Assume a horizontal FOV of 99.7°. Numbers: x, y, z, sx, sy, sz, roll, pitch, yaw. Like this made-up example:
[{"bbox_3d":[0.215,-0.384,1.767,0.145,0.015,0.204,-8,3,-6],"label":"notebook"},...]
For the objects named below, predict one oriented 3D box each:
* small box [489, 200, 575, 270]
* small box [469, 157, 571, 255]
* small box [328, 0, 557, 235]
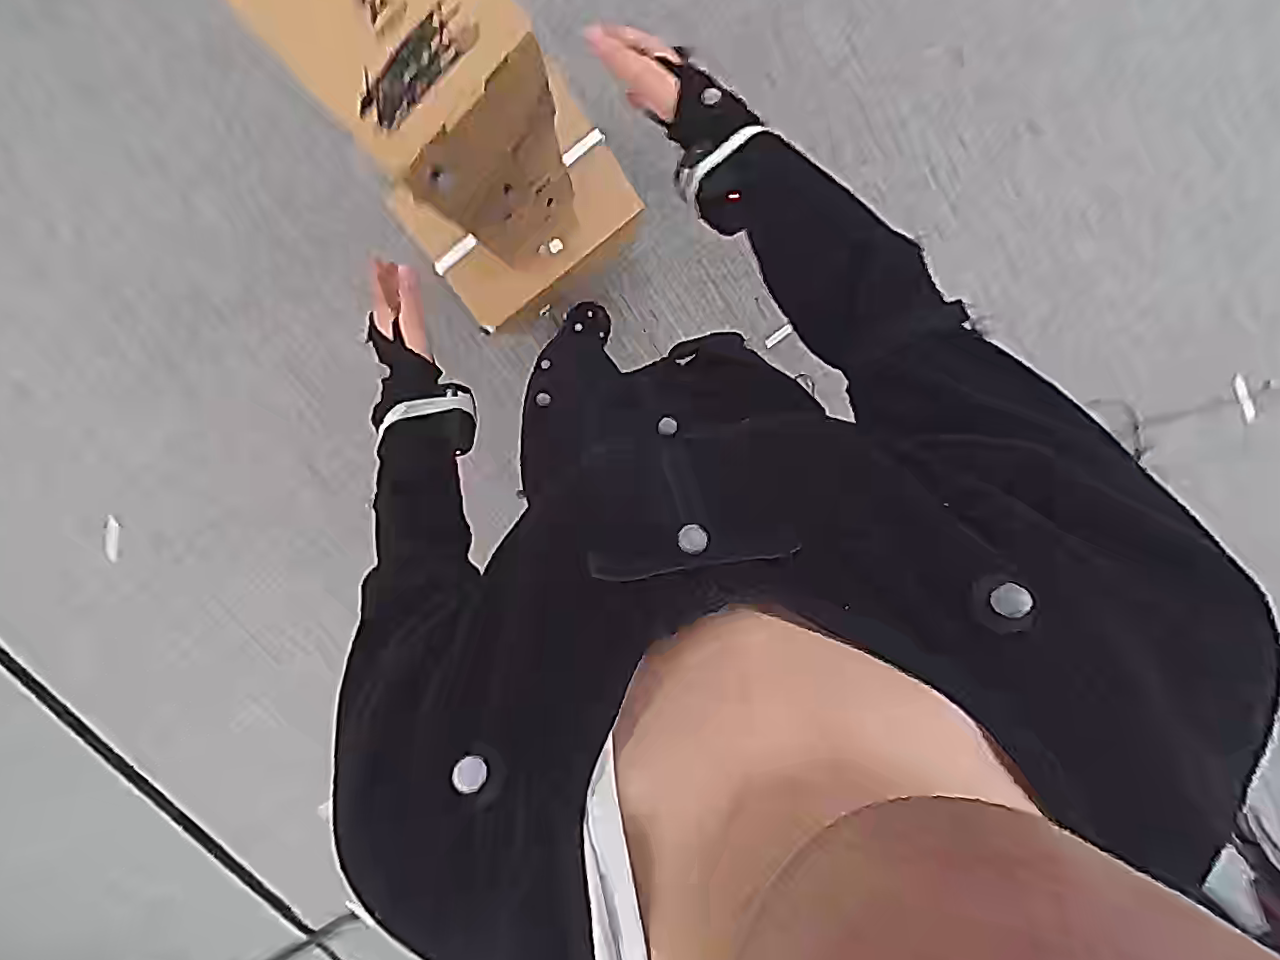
[{"bbox_3d":[-0.235,-0.505,0.973,0.168,0.176,0.179,-37,103,7],"label":"small box"},{"bbox_3d":[-0.221,-0.464,0.816,0.168,0.176,0.179,-38,102,6],"label":"small box"},{"bbox_3d":[-0.218,-0.425,0.656,0.168,0.176,0.179,-42,102,6],"label":"small box"}]
